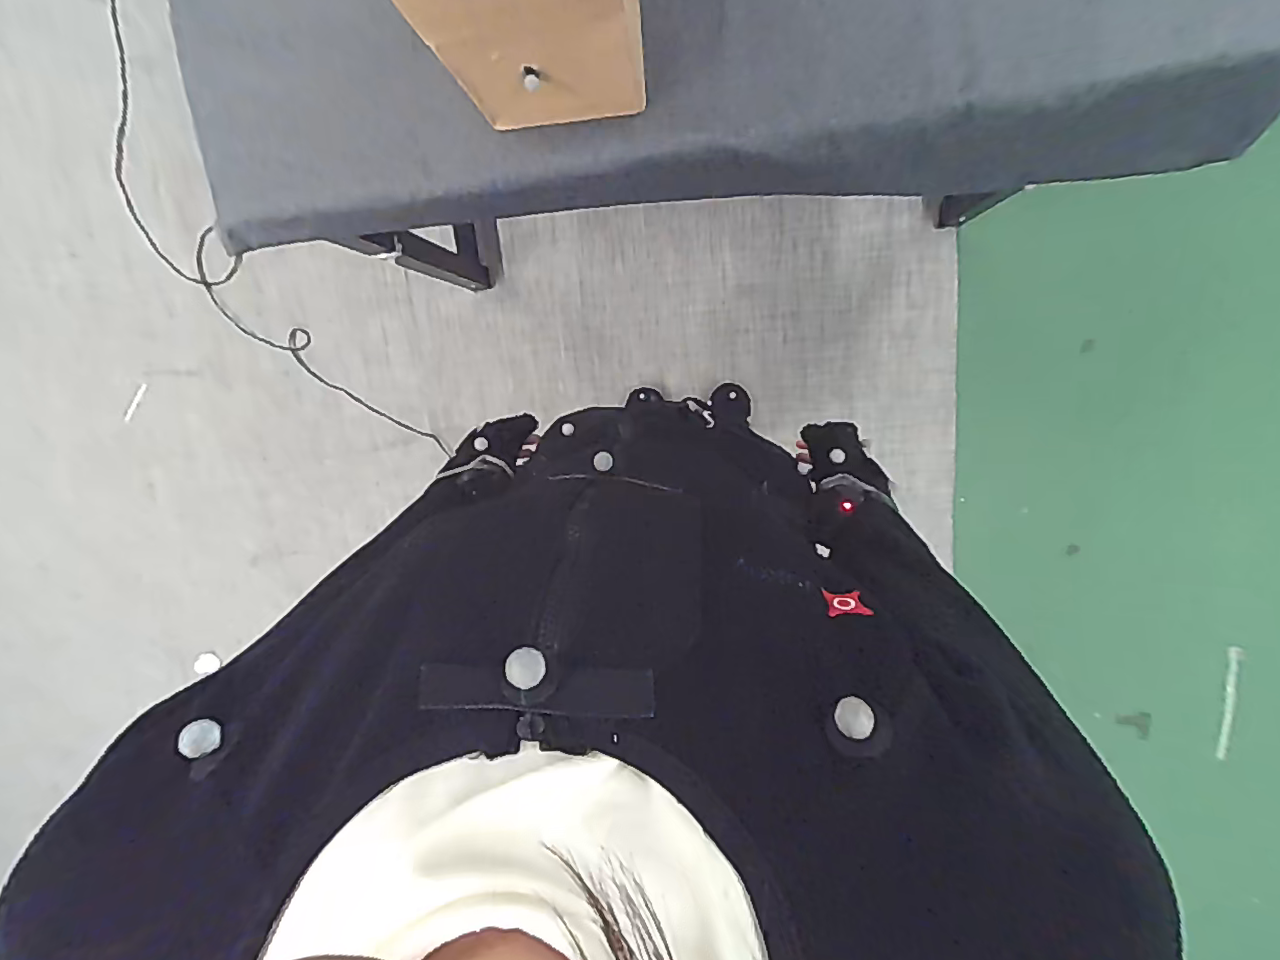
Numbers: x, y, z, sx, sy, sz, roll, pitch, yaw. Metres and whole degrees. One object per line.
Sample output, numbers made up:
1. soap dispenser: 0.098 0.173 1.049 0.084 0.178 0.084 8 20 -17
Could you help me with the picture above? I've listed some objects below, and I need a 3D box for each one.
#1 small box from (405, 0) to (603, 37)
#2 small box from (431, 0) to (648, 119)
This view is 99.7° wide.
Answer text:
1. small box: -0.110 -0.452 0.369 0.179 0.176 0.168 -3 98 8
2. small box: -0.092 -0.484 0.527 0.179 0.176 0.168 -2 100 7
